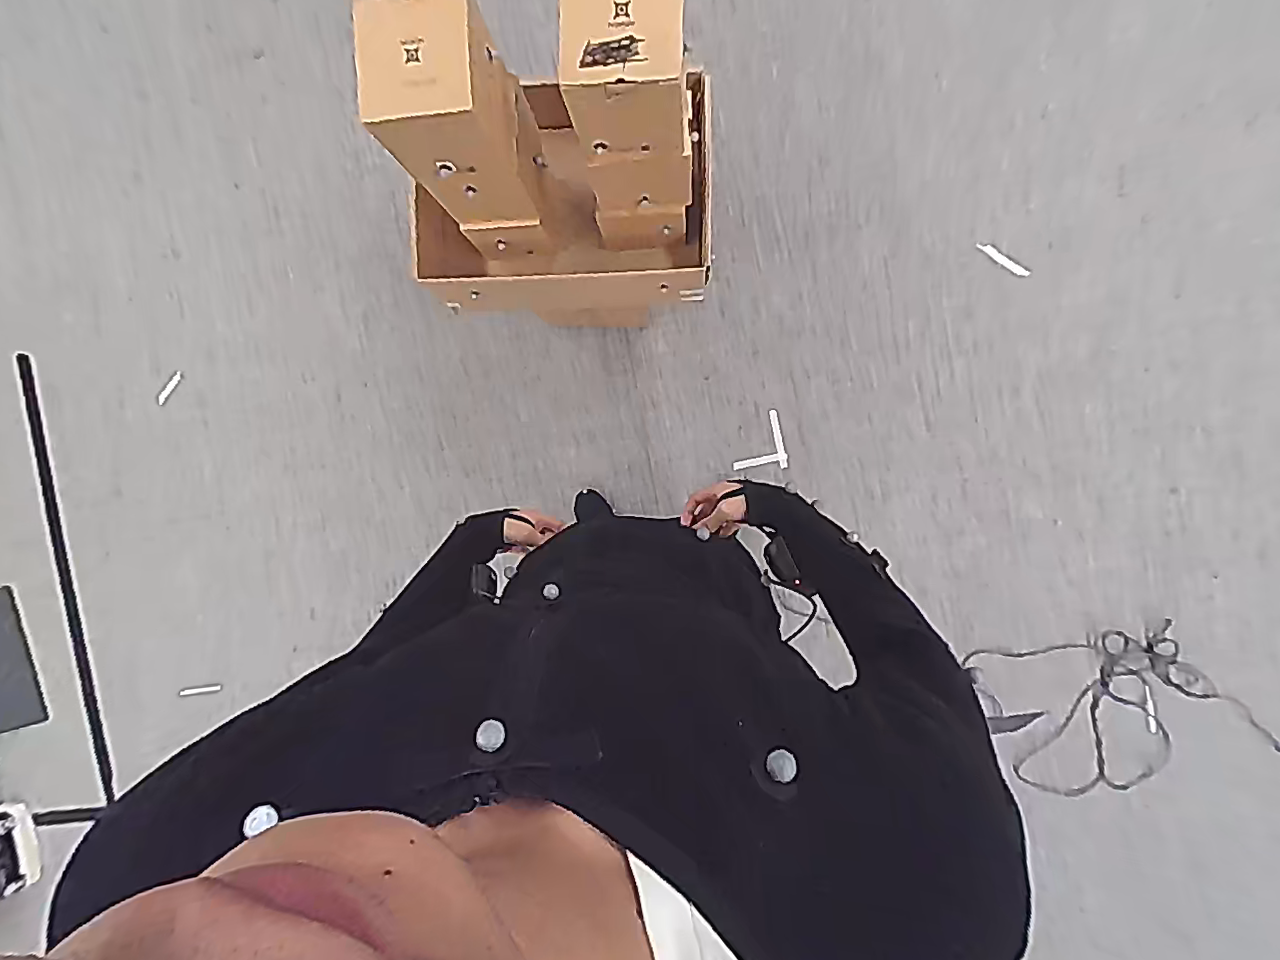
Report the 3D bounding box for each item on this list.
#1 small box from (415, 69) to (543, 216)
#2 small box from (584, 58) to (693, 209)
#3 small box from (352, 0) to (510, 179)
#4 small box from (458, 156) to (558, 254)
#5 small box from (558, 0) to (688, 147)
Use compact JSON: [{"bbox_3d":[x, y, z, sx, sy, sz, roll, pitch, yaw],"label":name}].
[{"bbox_3d":[-0.282,-0.593,0.972,0.179,0.176,0.168,0,92,4],"label":"small box"},{"bbox_3d":[0.000,-0.598,0.943,0.179,0.176,0.168,-3,92,6],"label":"small box"},{"bbox_3d":[-0.302,-0.587,0.809,0.168,0.176,0.179,-3,91,6],"label":"small box"},{"bbox_3d":[-0.272,-0.590,1.136,0.168,0.176,0.179,-2,91,4],"label":"small box"},{"bbox_3d":[-0.017,-0.607,0.777,0.168,0.176,0.179,1,91,5],"label":"small box"}]
